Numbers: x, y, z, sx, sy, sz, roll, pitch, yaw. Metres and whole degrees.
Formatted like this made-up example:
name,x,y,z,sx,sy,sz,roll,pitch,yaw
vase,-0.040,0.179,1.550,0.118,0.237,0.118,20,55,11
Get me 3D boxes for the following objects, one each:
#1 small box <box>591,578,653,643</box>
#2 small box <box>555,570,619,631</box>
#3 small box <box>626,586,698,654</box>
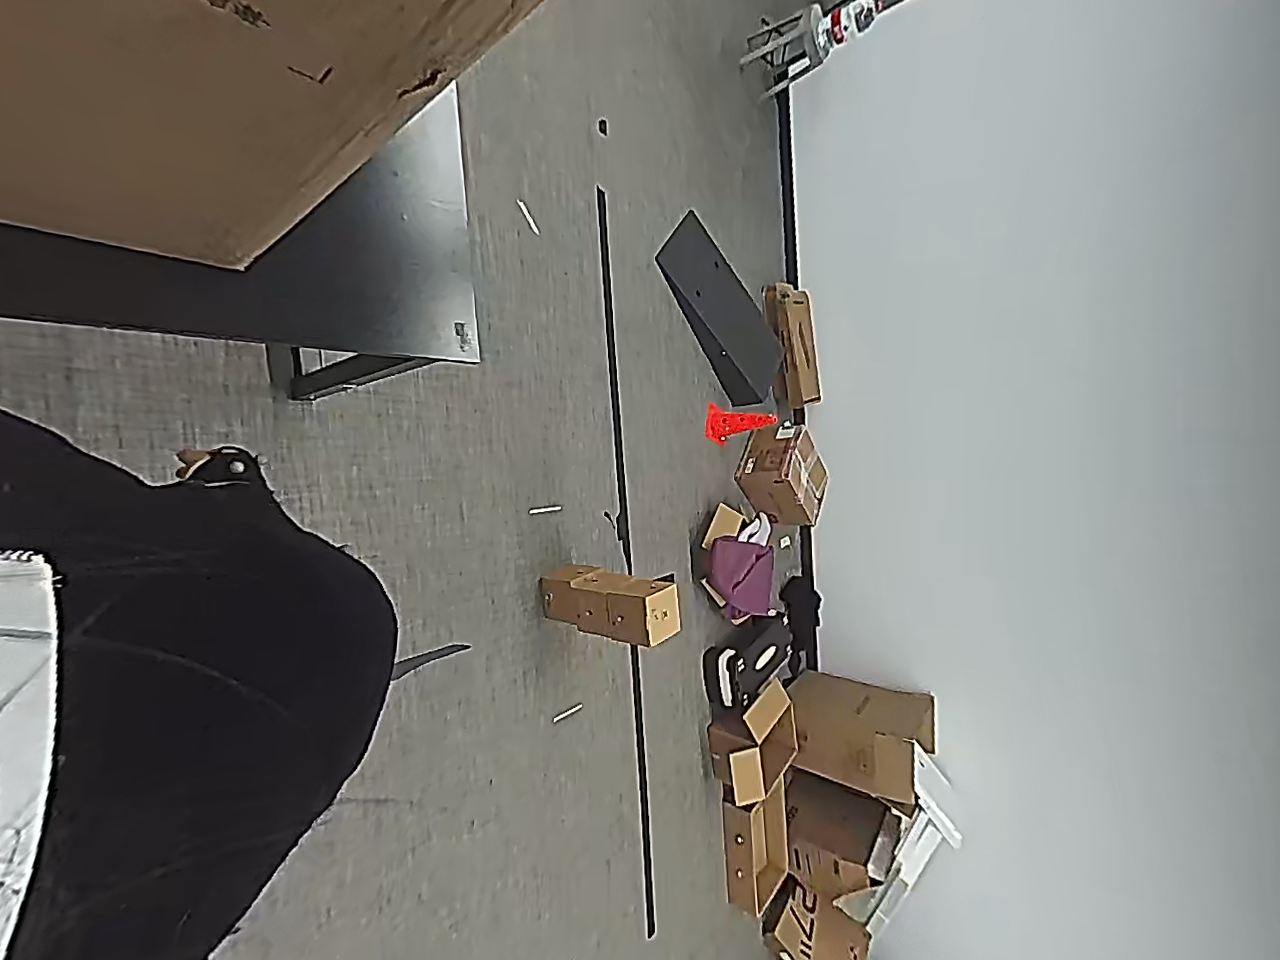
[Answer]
name,x,y,z,sx,sy,sz,roll,pitch,yaw
small box,-0.059,0.454,1.902,0.179,0.176,0.168,-18,103,-50
small box,-0.188,0.439,2.004,0.179,0.176,0.168,-17,101,-49
small box,0.074,0.459,1.803,0.179,0.176,0.168,-11,97,-51
